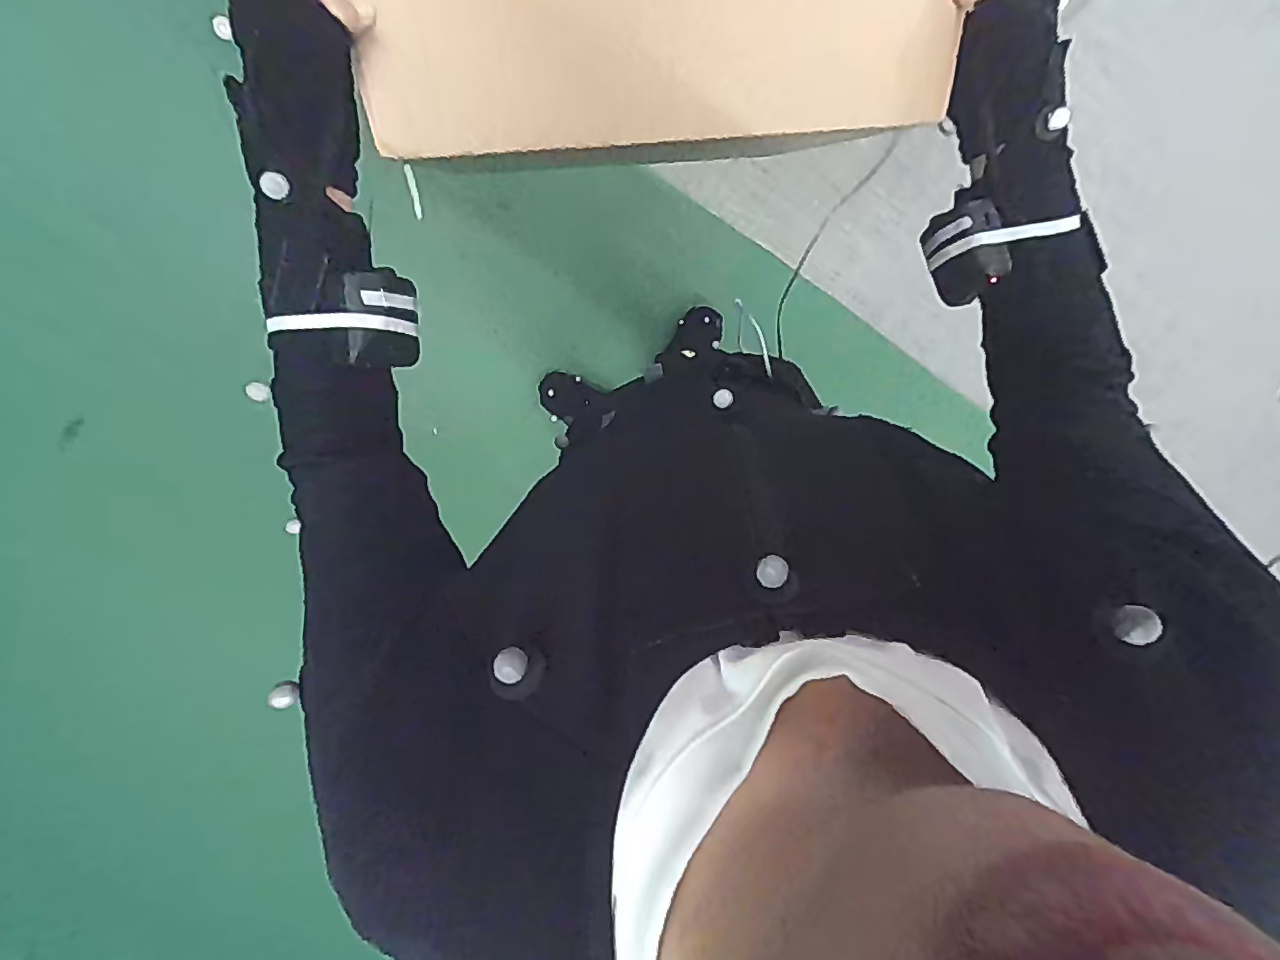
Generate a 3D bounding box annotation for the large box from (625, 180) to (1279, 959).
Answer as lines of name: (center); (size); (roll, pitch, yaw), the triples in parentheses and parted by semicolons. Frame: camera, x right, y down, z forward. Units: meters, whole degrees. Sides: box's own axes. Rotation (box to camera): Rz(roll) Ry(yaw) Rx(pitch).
large box: (0.232, 0.100, 0.325); (0.320, 0.320, 0.408); (5, 70, 29)
